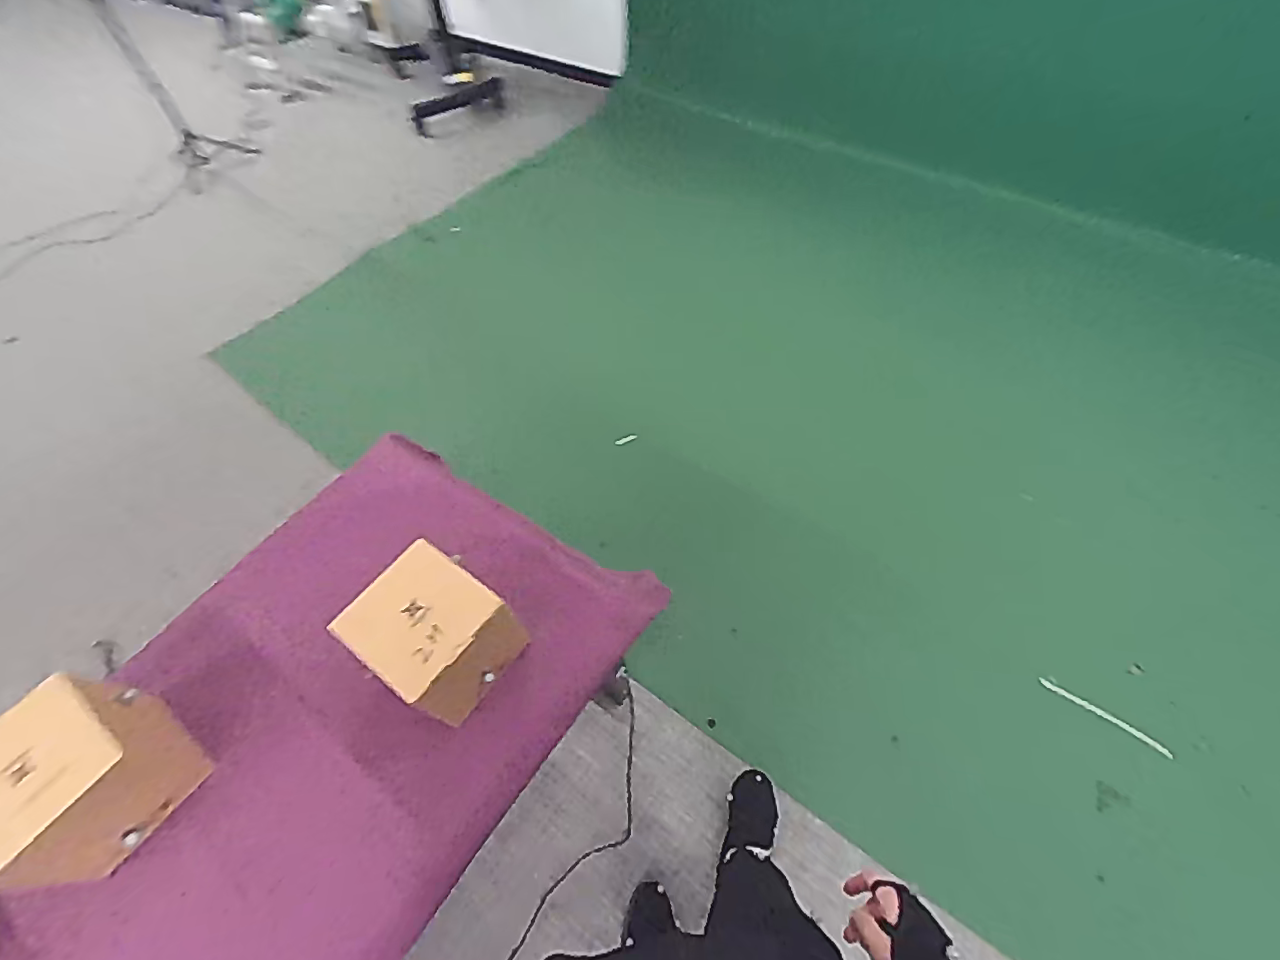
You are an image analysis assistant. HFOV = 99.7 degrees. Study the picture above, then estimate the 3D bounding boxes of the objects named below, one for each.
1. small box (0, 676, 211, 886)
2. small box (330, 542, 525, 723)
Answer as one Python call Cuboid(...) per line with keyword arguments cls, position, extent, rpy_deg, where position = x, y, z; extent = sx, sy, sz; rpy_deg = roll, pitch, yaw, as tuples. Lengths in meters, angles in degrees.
Cuboid(cls="small box", position=(-0.730, 0.394, 0.706), extent=(0.179, 0.176, 0.168), rpy_deg=(30, 63, 19))
Cuboid(cls="small box", position=(-0.299, 0.229, 0.795), extent=(0.179, 0.176, 0.168), rpy_deg=(30, 63, 22))
